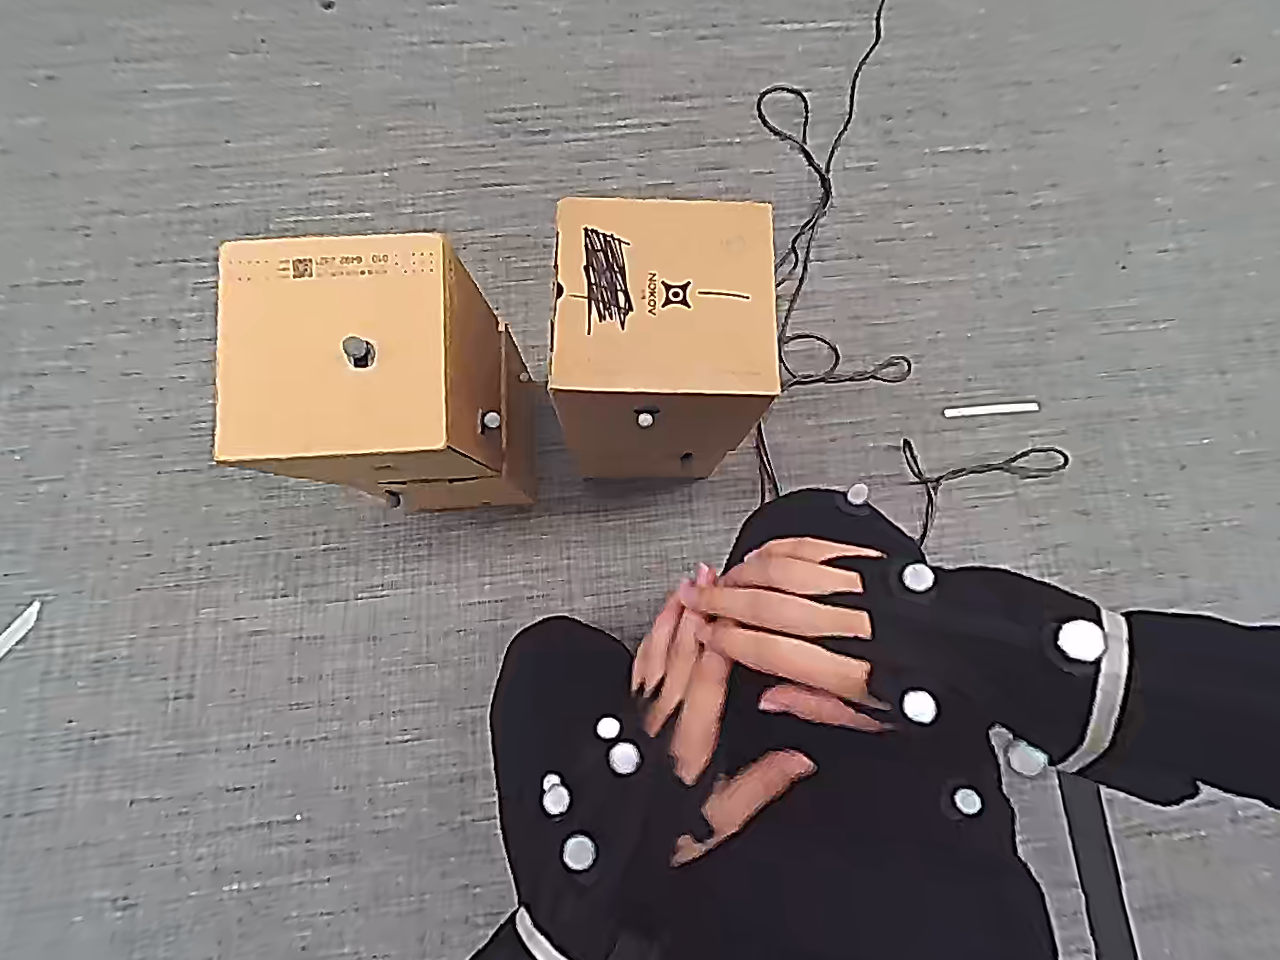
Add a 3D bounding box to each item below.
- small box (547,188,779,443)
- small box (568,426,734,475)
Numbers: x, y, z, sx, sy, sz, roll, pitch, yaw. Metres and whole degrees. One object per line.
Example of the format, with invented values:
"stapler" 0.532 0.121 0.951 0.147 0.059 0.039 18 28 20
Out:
"small box" 0.017 -0.134 0.496 0.179 0.176 0.168 1 79 -2
"small box" 0.010 -0.105 0.657 0.179 0.176 0.168 0 78 -1
